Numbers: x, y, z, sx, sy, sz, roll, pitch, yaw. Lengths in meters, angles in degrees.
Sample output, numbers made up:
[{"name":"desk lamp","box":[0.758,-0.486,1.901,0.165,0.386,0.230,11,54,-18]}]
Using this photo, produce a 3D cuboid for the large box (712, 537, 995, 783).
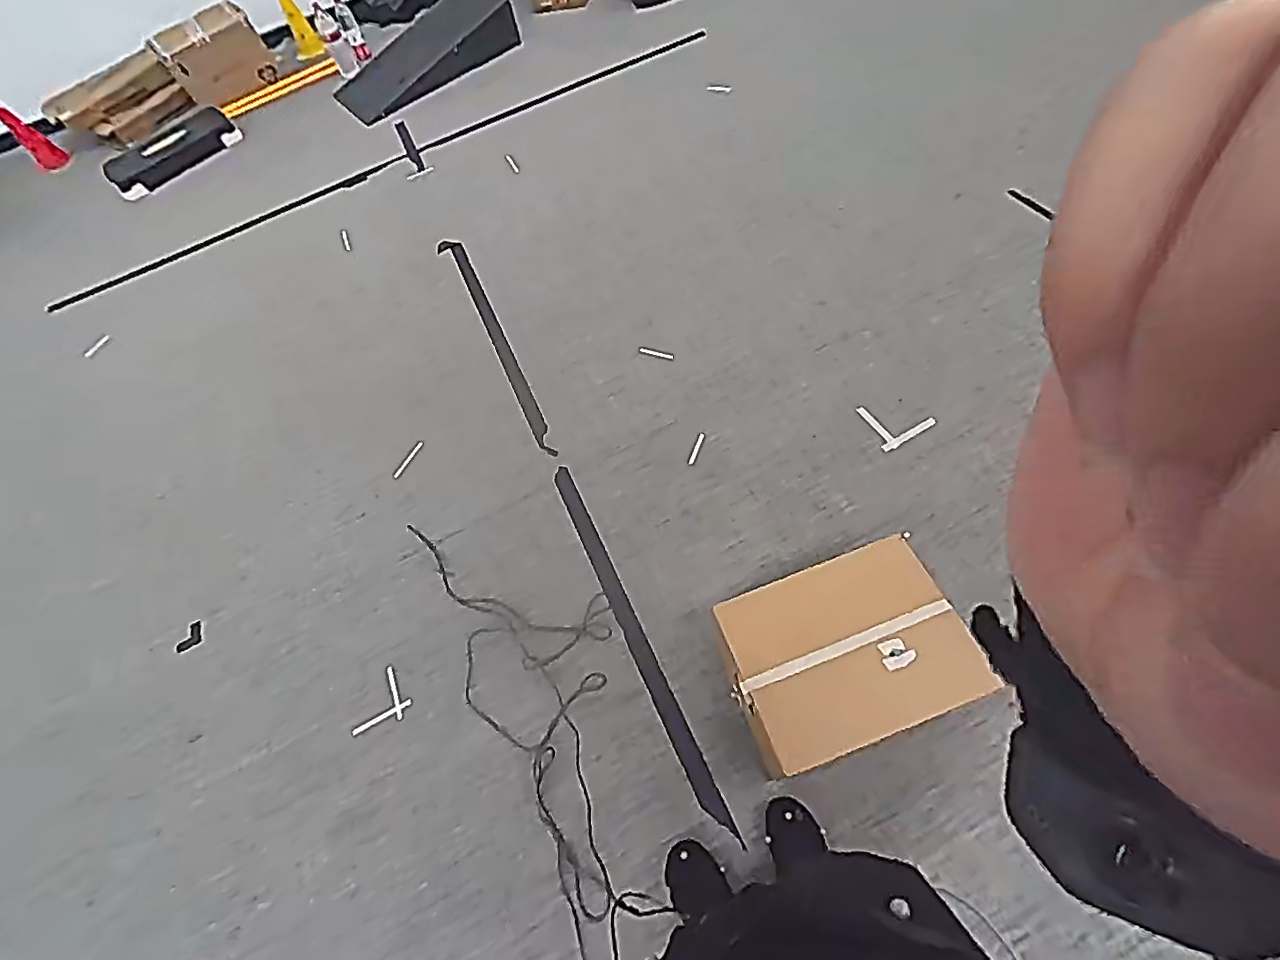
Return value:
[{"name":"large box","box":[0.391,0.378,1.108,0.408,0.320,0.320,-20,60,-4]}]
